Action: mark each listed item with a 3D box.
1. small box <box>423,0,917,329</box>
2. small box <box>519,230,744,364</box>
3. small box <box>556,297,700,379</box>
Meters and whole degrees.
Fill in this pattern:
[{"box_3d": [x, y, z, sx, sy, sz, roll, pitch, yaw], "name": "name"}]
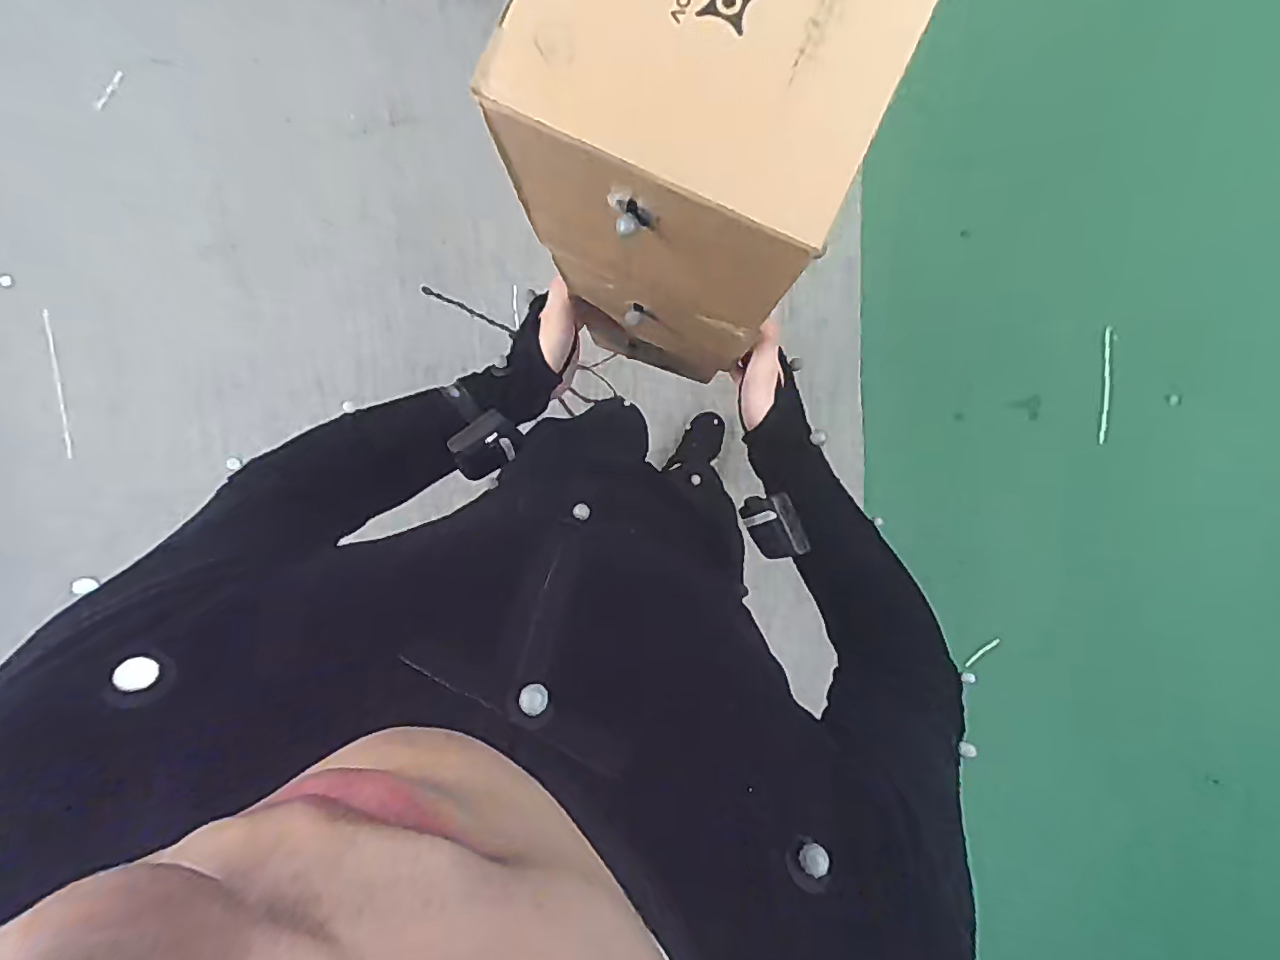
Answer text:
[{"box_3d": [0.021, -0.206, 0.303, 0.179, 0.176, 0.168, 26, 92, -1], "name": "small box"}, {"box_3d": [0.023, -0.215, 0.466, 0.179, 0.176, 0.168, 22, 92, 0], "name": "small box"}, {"box_3d": [0.019, -0.232, 0.630, 0.168, 0.176, 0.179, 20, 91, 0], "name": "small box"}]
